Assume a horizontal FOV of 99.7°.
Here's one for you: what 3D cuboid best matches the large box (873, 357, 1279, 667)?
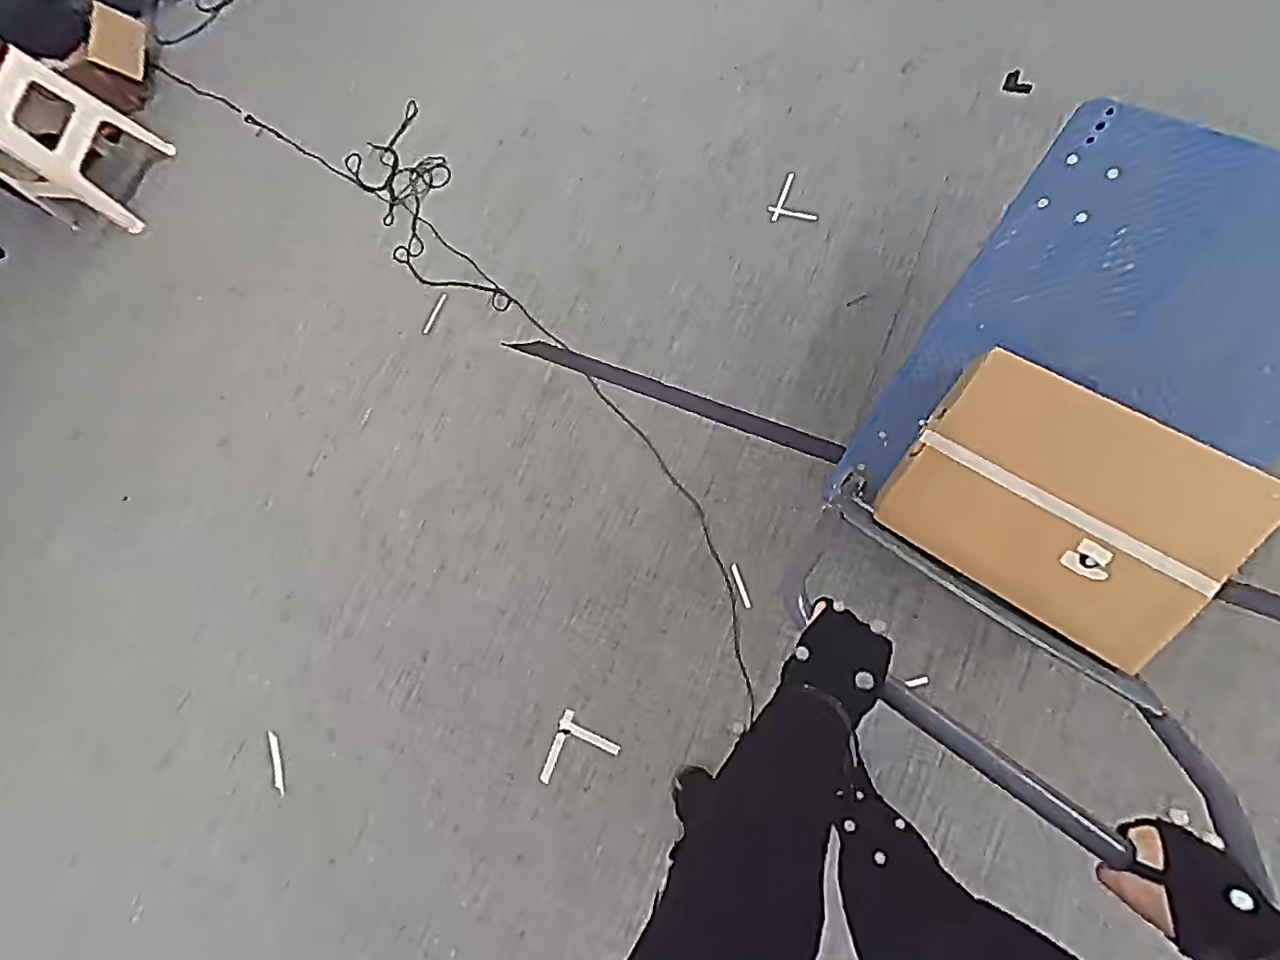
[{"bbox_3d":[0.668,0.030,0.933,0.408,0.320,0.320,34,108,17],"label":"large box"}]
